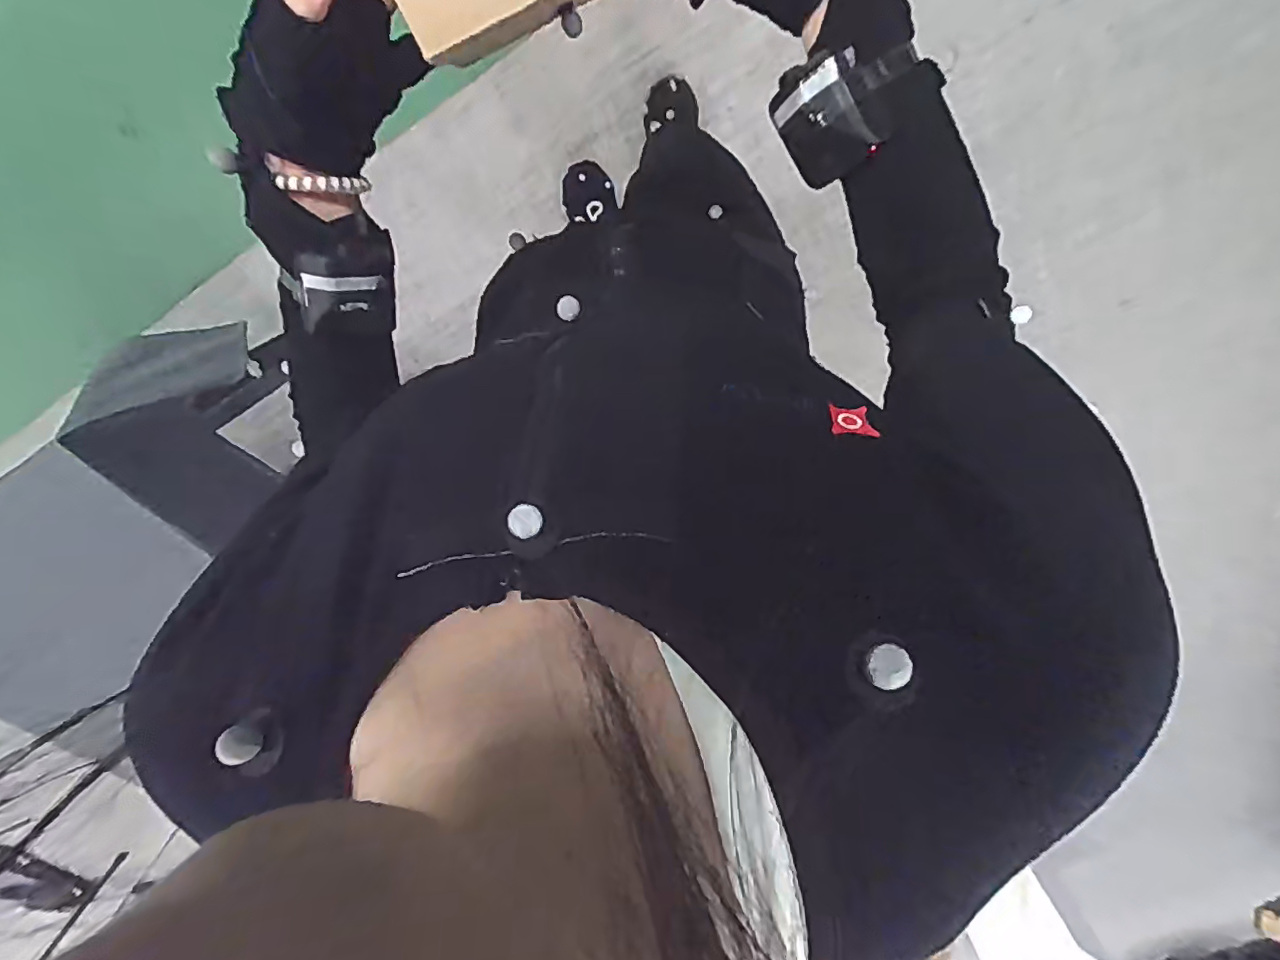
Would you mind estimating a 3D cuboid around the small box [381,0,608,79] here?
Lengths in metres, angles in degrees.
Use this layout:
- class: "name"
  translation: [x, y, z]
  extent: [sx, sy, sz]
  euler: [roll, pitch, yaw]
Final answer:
- class: "small box"
  translation: [-0.070, -0.326, 0.256]
  extent: [0.168, 0.176, 0.179]
  euler: [-23, 127, 5]
